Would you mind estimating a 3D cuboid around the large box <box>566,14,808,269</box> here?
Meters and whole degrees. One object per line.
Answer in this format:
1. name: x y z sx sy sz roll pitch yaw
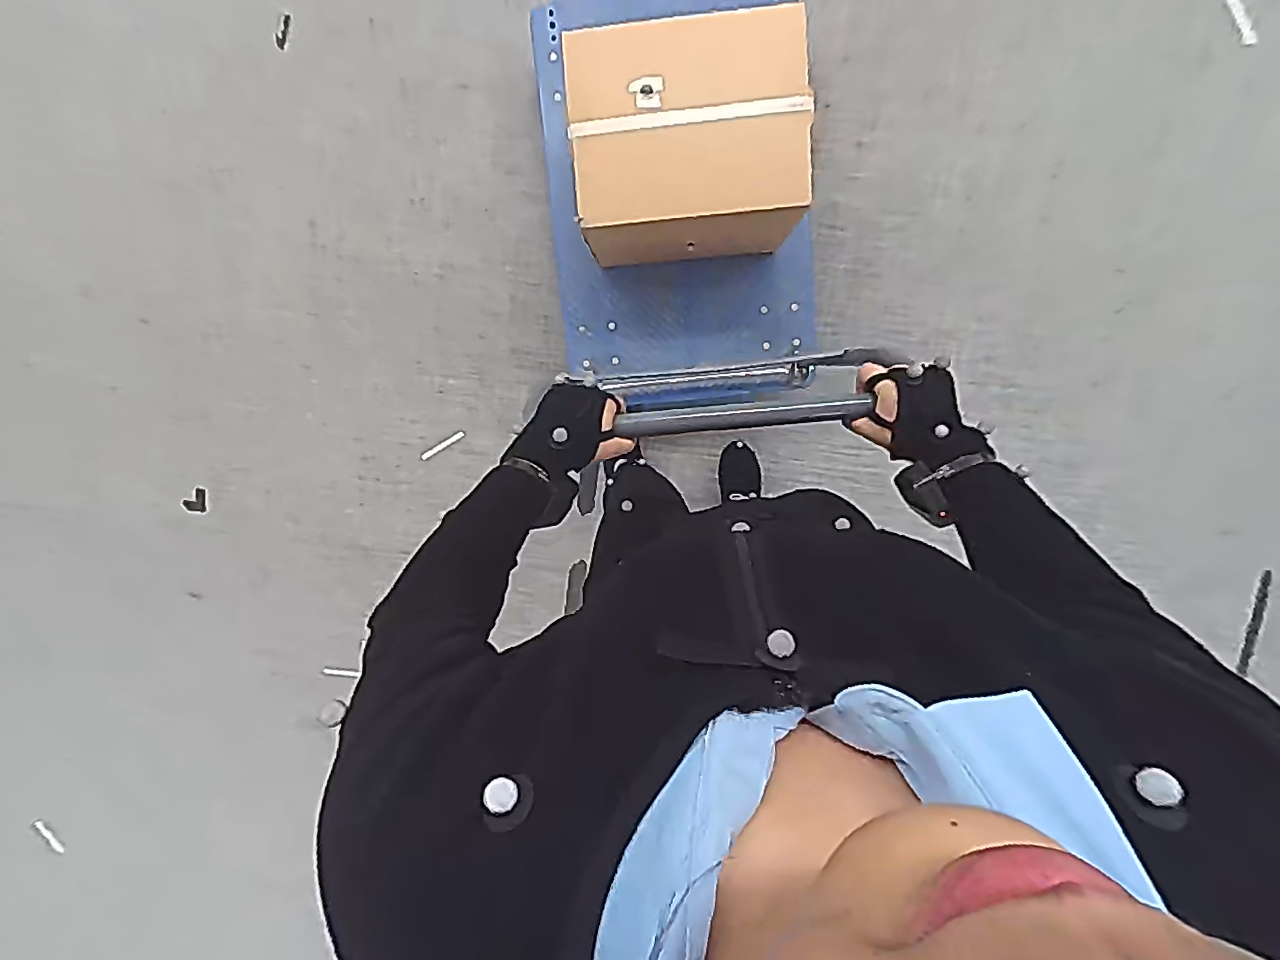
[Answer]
1. large box: 0.093 -0.632 1.082 0.408 0.320 0.320 -4 98 4
